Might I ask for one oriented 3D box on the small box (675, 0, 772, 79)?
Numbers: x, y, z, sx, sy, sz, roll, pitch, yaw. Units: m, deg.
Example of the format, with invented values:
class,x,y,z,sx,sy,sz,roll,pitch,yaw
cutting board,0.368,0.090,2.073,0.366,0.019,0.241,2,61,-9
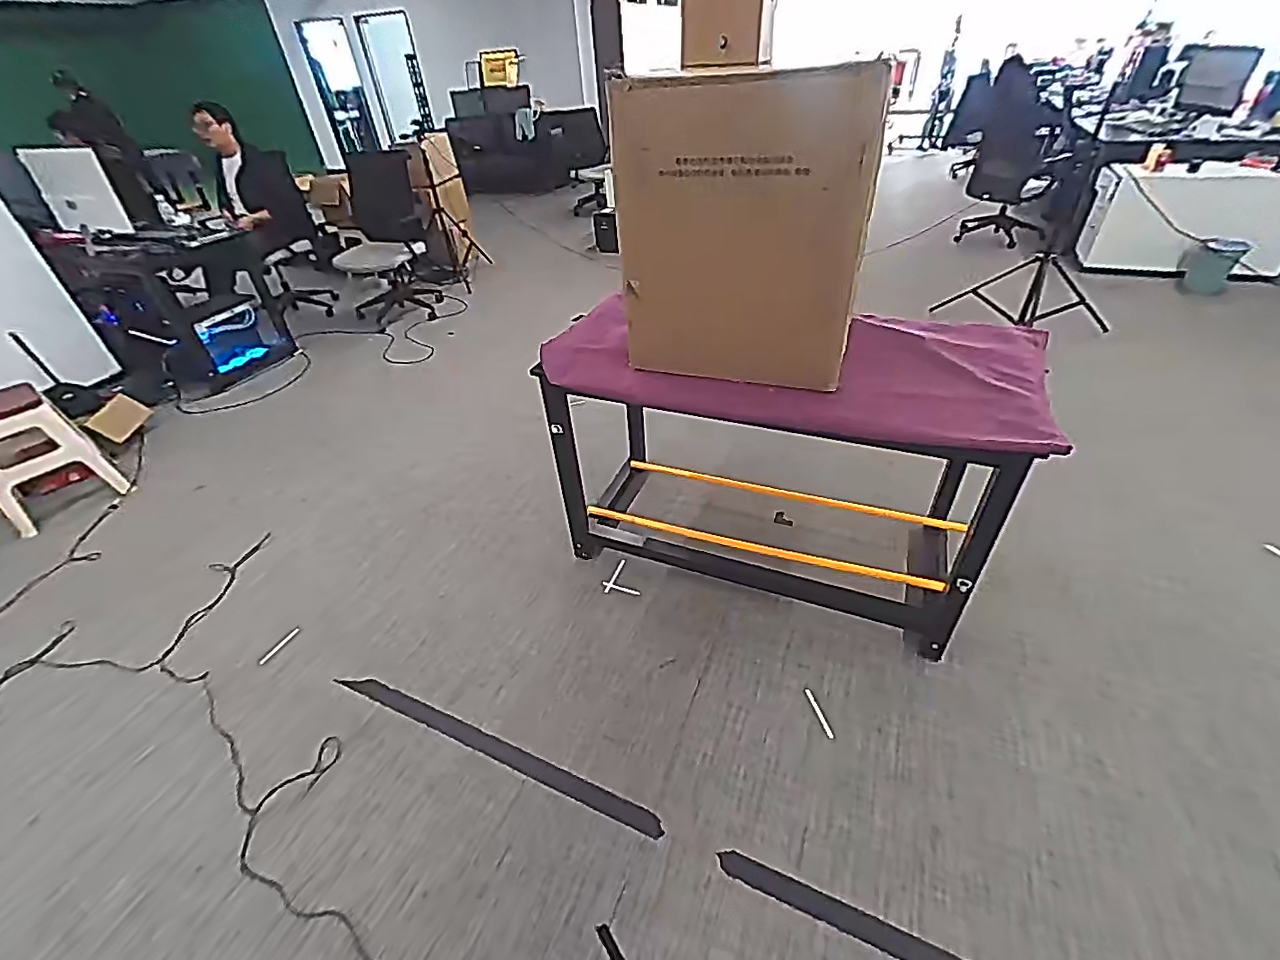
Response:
class,x,y,z,sx,sy,sz,roll,pitch,yaw
small box,0.183,-0.983,1.174,0.179,0.176,0.168,12,41,19
